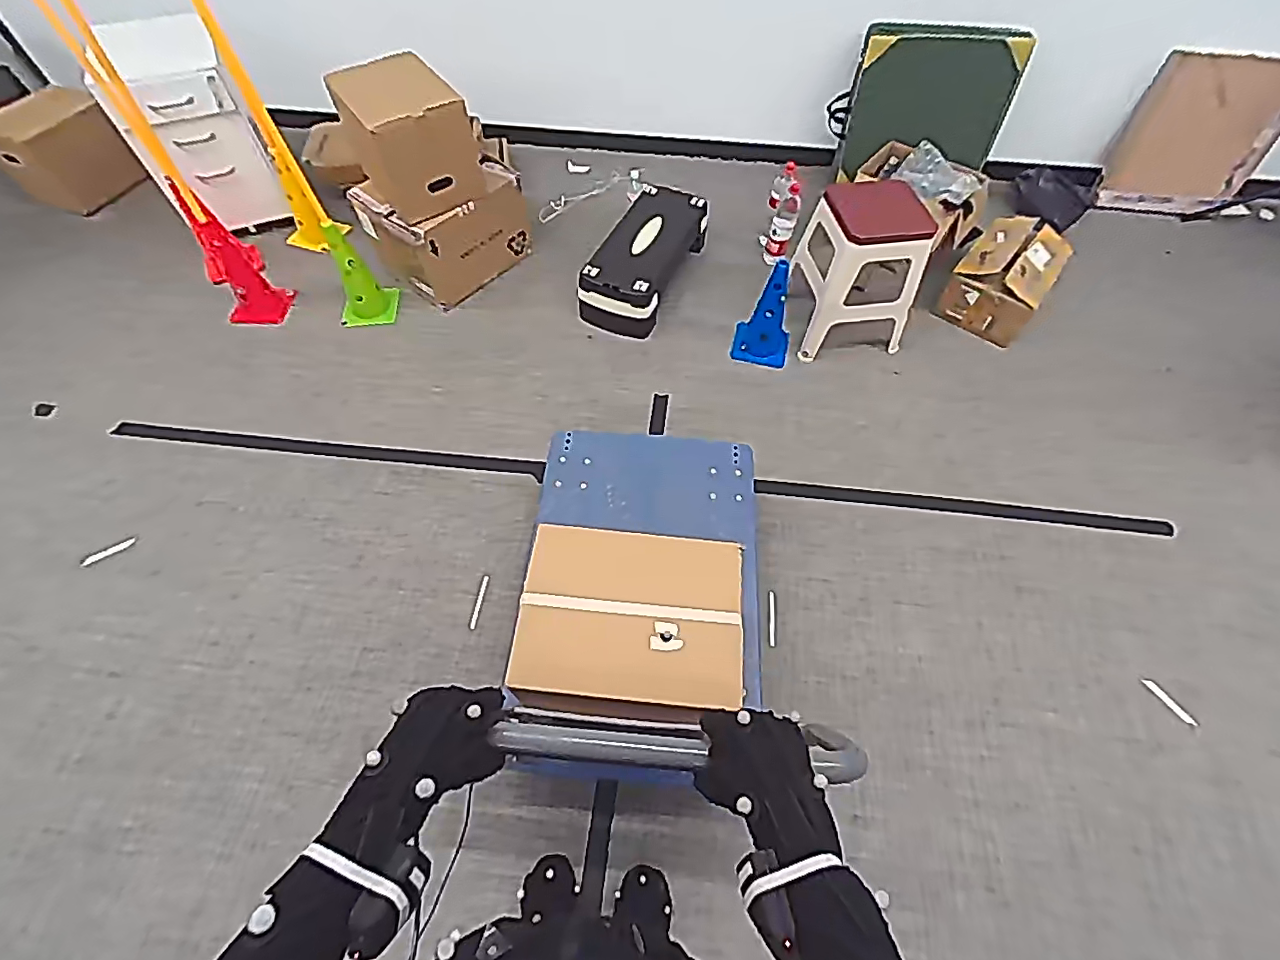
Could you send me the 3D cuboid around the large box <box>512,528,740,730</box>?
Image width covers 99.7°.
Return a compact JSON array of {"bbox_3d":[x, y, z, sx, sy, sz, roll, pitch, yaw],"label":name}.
[{"bbox_3d":[-0.022,0.321,1.133,0.408,0.320,0.320,6,58,0],"label":"large box"}]
